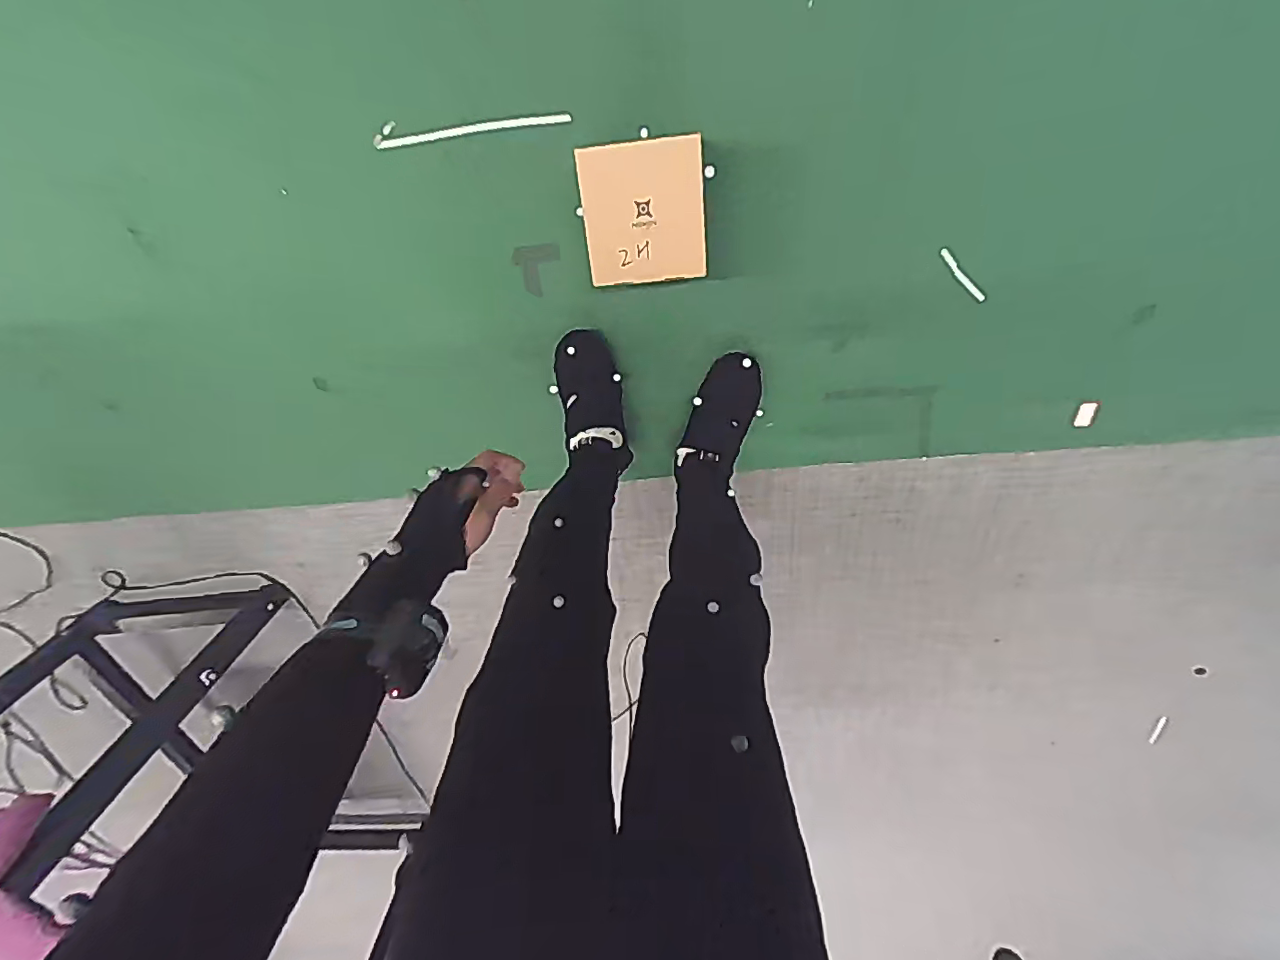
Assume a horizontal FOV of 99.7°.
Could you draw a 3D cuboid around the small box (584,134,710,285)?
[{"bbox_3d":[0.017,-0.400,0.803,0.168,0.176,0.179,-2,121,6],"label":"small box"}]
